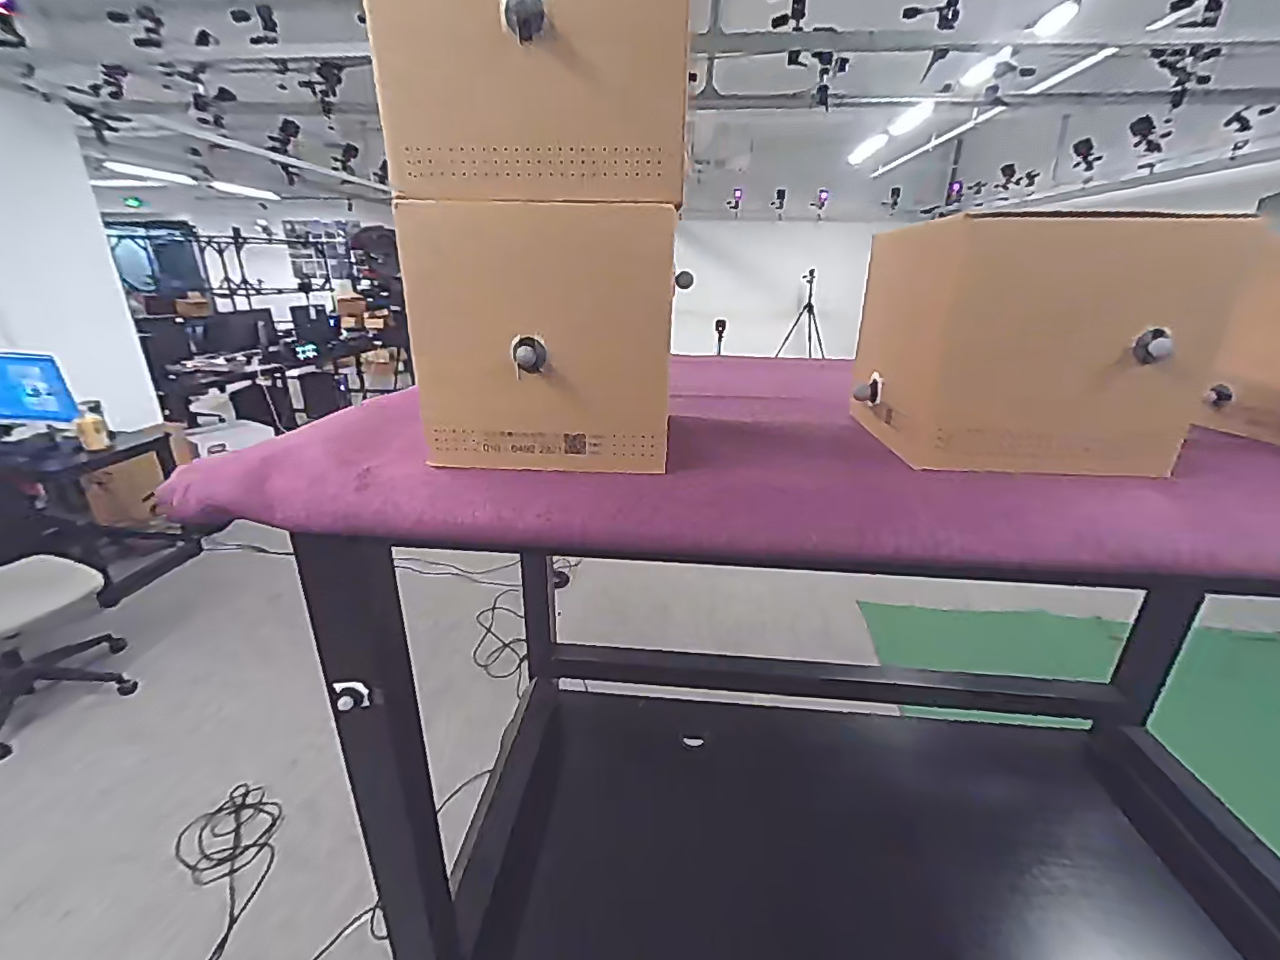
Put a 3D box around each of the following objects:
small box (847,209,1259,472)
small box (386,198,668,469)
[{"bbox_3d":[0.280,-0.109,0.421,0.179,0.176,0.168,1,21,3],"label":"small box"},{"bbox_3d":[-0.063,-0.114,0.415,0.168,0.176,0.179,2,22,2],"label":"small box"}]
